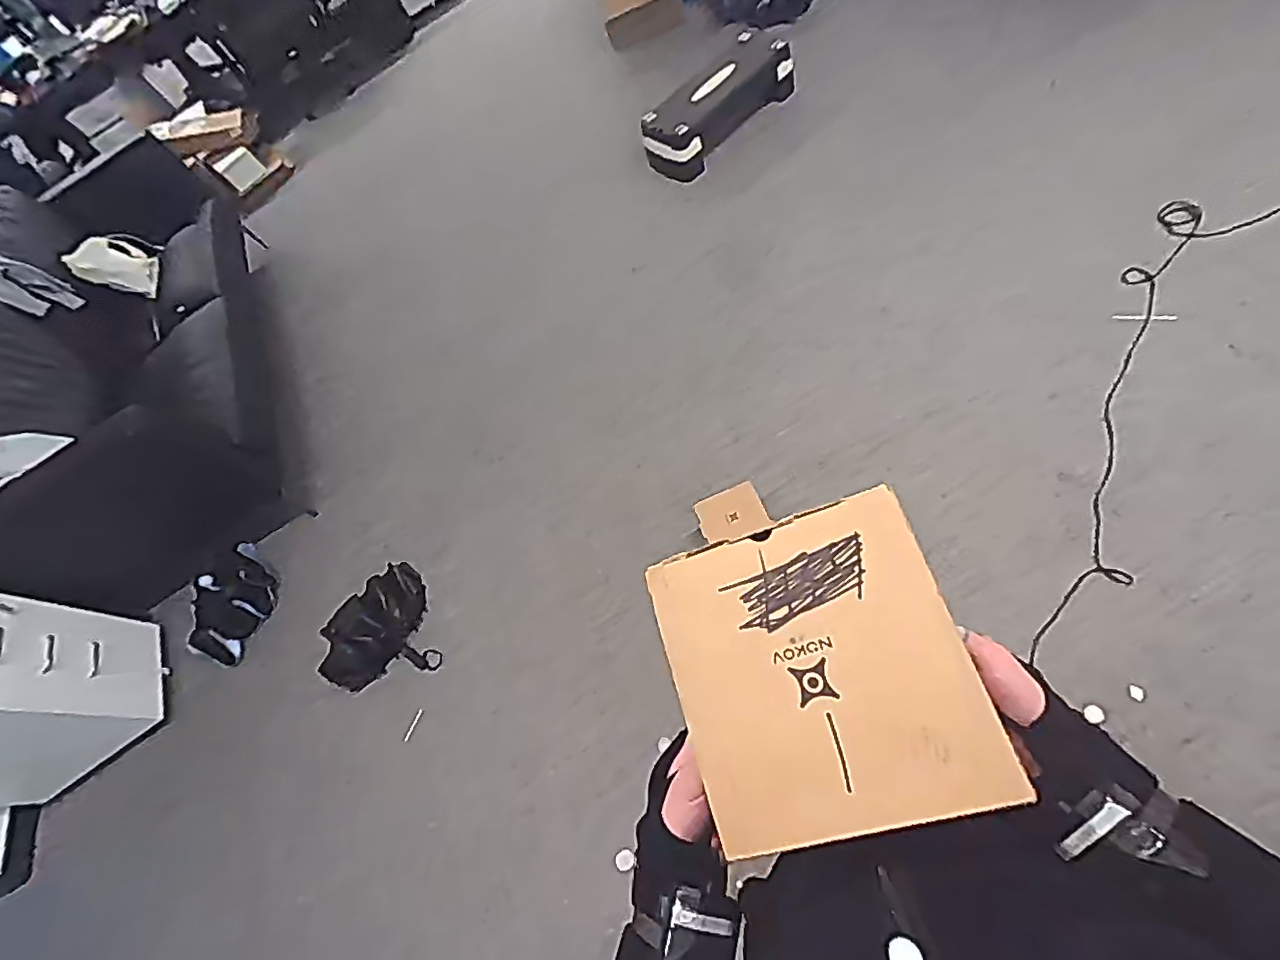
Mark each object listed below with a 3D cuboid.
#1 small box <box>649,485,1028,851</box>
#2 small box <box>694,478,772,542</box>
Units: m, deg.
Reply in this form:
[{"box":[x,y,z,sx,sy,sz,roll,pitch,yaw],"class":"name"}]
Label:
[{"box":[0.126,0.126,0.389,0.168,0.176,0.179,-21,70,15],"class":"small box"},{"box":[0.274,0.127,1.520,0.179,0.176,0.168,-24,61,6],"class":"small box"}]
